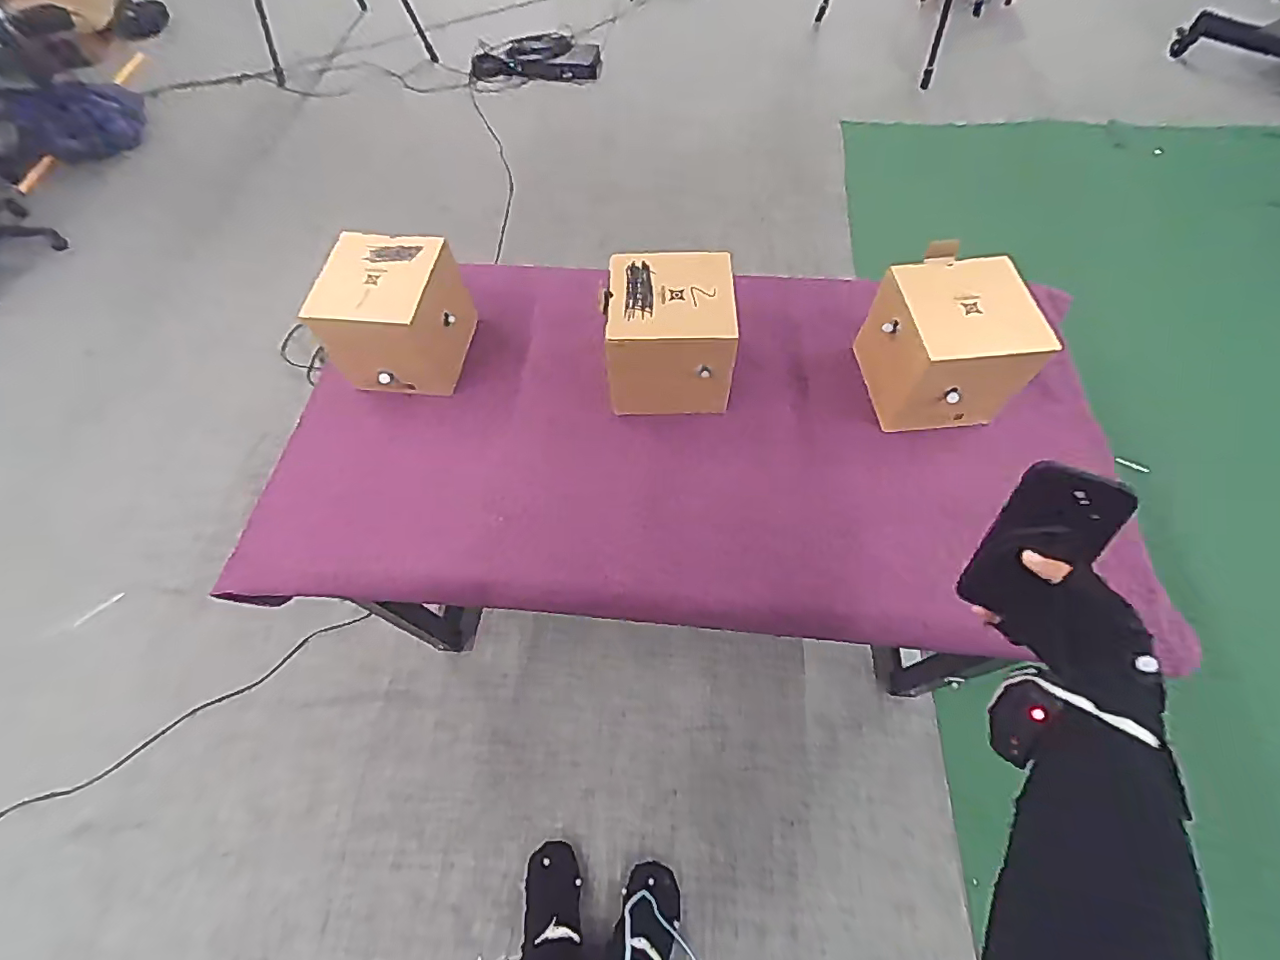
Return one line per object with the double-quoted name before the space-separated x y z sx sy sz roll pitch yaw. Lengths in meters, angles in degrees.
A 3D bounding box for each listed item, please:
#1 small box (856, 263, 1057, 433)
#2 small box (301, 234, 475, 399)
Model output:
"small box" 0.434 -0.180 0.777 0.168 0.176 0.179 -5 60 0
"small box" -0.374 -0.251 0.845 0.168 0.176 0.179 5 63 5
